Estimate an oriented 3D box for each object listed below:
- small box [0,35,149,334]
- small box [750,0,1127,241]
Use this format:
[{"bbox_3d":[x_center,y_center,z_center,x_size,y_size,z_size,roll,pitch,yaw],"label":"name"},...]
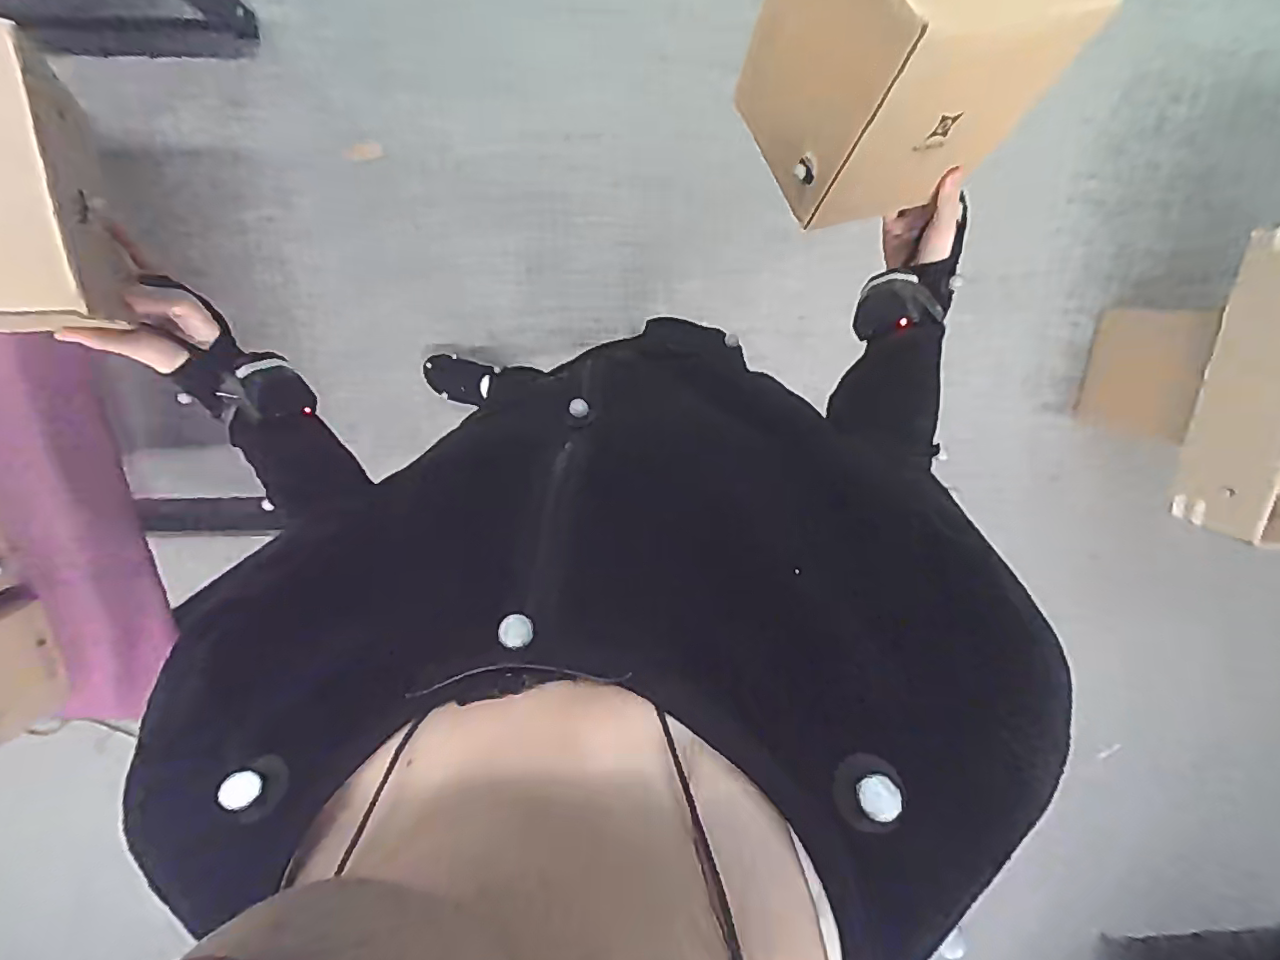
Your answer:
[{"bbox_3d":[-0.462,-0.182,0.348,0.179,0.168,0.176,-10,107,-33],"label":"small box"},{"bbox_3d":[0.211,-0.335,0.438,0.168,0.179,0.176,-17,77,-13],"label":"small box"}]
